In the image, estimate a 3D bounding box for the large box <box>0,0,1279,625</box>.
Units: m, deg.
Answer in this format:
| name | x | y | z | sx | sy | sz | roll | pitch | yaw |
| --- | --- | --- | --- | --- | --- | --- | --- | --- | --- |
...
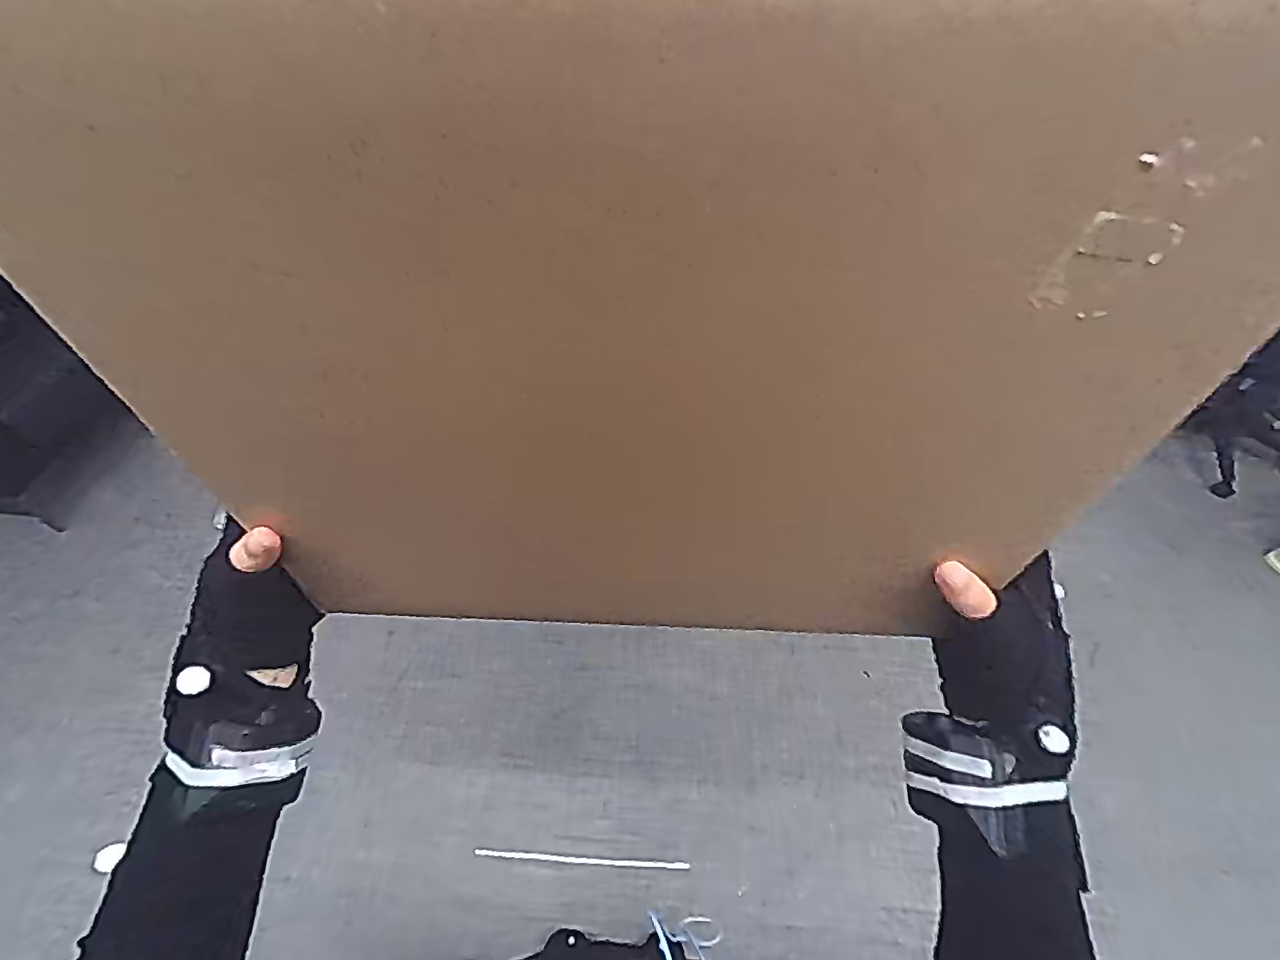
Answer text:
| name | x | y | z | sx | sy | sz | roll | pitch | yaw |
| --- | --- | --- | --- | --- | --- | --- | --- | --- | --- |
| large box | 0.014 | -0.120 | 0.330 | 0.408 | 0.320 | 0.320 | 2 | 50 | -1 |
